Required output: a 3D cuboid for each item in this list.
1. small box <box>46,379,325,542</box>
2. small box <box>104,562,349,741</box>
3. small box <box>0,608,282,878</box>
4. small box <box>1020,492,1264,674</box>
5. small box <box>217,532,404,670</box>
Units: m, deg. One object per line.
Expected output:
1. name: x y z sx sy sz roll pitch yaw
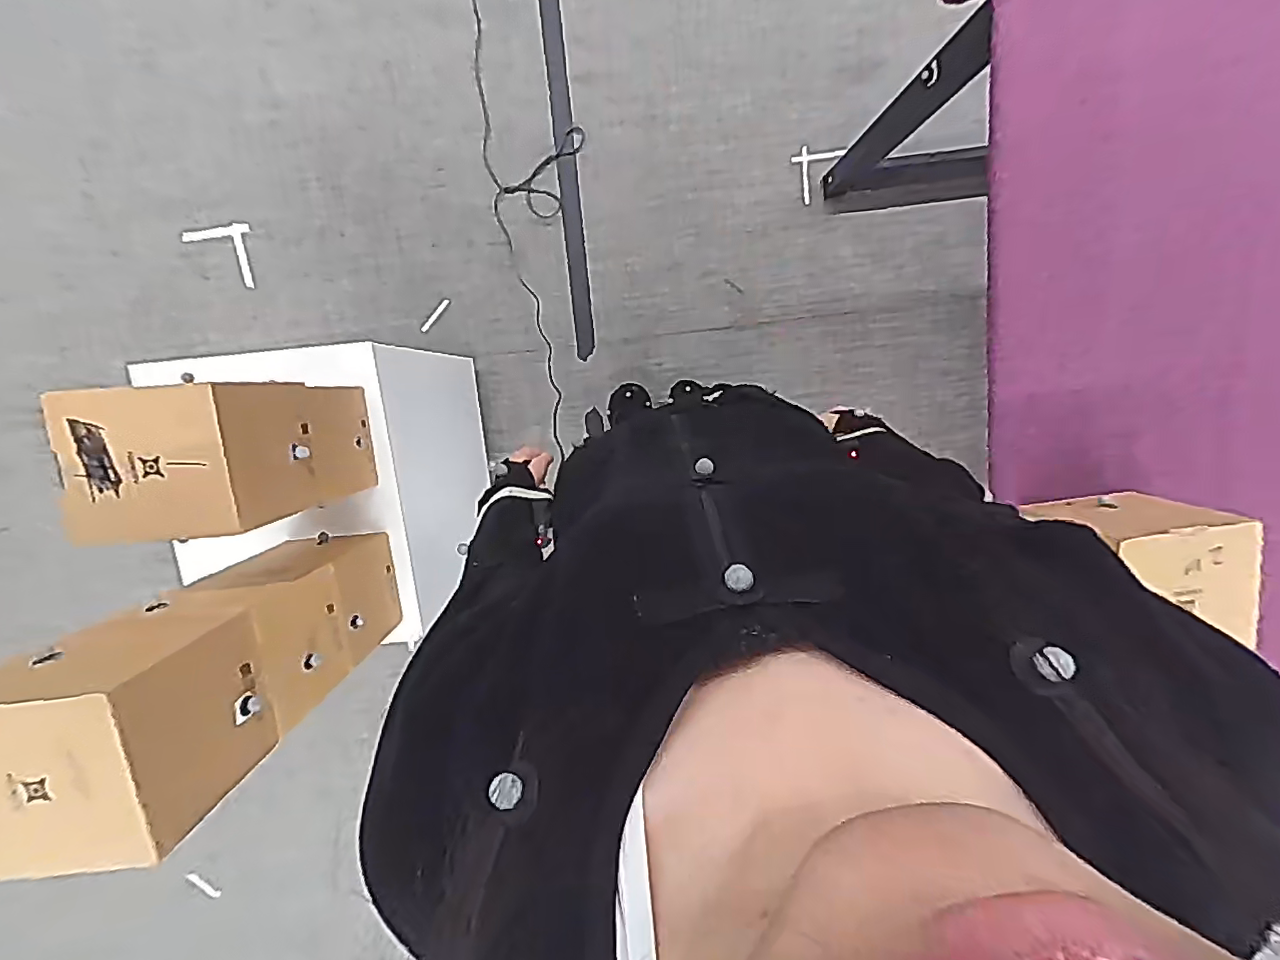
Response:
1. small box: -0.515 -0.031 0.642 0.179 0.176 0.168 -4 101 -1
2. small box: -0.499 0.213 0.687 0.179 0.176 0.168 -6 100 1
3. small box: -0.501 0.240 0.527 0.179 0.176 0.168 -7 101 1
4. small box: 0.633 0.124 0.706 0.168 0.176 0.179 -8 100 0
5. small box: -0.502 0.185 0.848 0.179 0.176 0.168 -5 100 2
